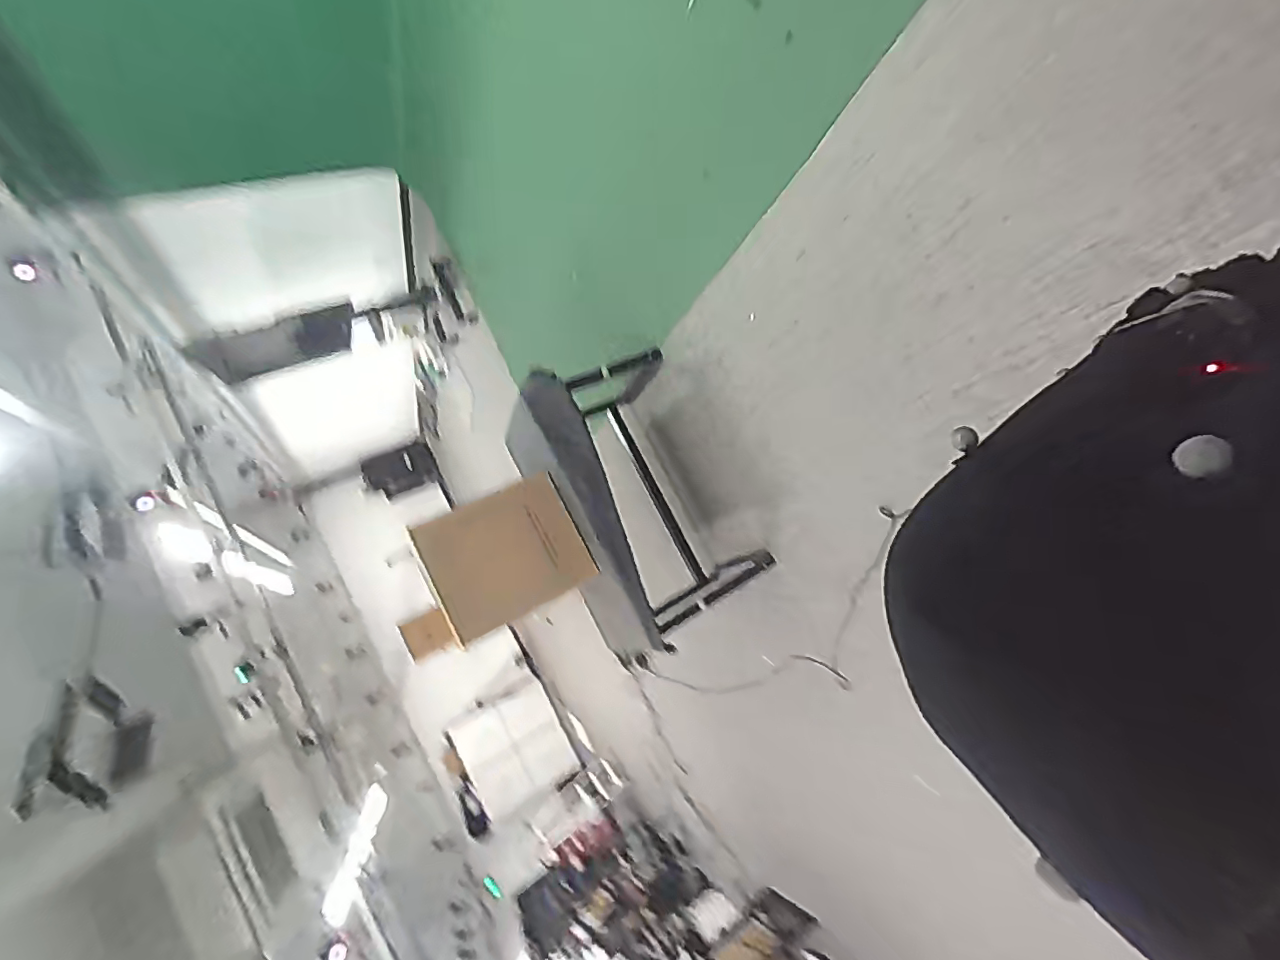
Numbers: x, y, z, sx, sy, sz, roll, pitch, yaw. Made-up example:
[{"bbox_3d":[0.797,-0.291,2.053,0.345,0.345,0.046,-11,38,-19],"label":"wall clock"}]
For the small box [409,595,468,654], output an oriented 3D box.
[{"bbox_3d":[-0.819,0.581,2.196,0.179,0.176,0.168,59,153,8],"label":"small box"}]
